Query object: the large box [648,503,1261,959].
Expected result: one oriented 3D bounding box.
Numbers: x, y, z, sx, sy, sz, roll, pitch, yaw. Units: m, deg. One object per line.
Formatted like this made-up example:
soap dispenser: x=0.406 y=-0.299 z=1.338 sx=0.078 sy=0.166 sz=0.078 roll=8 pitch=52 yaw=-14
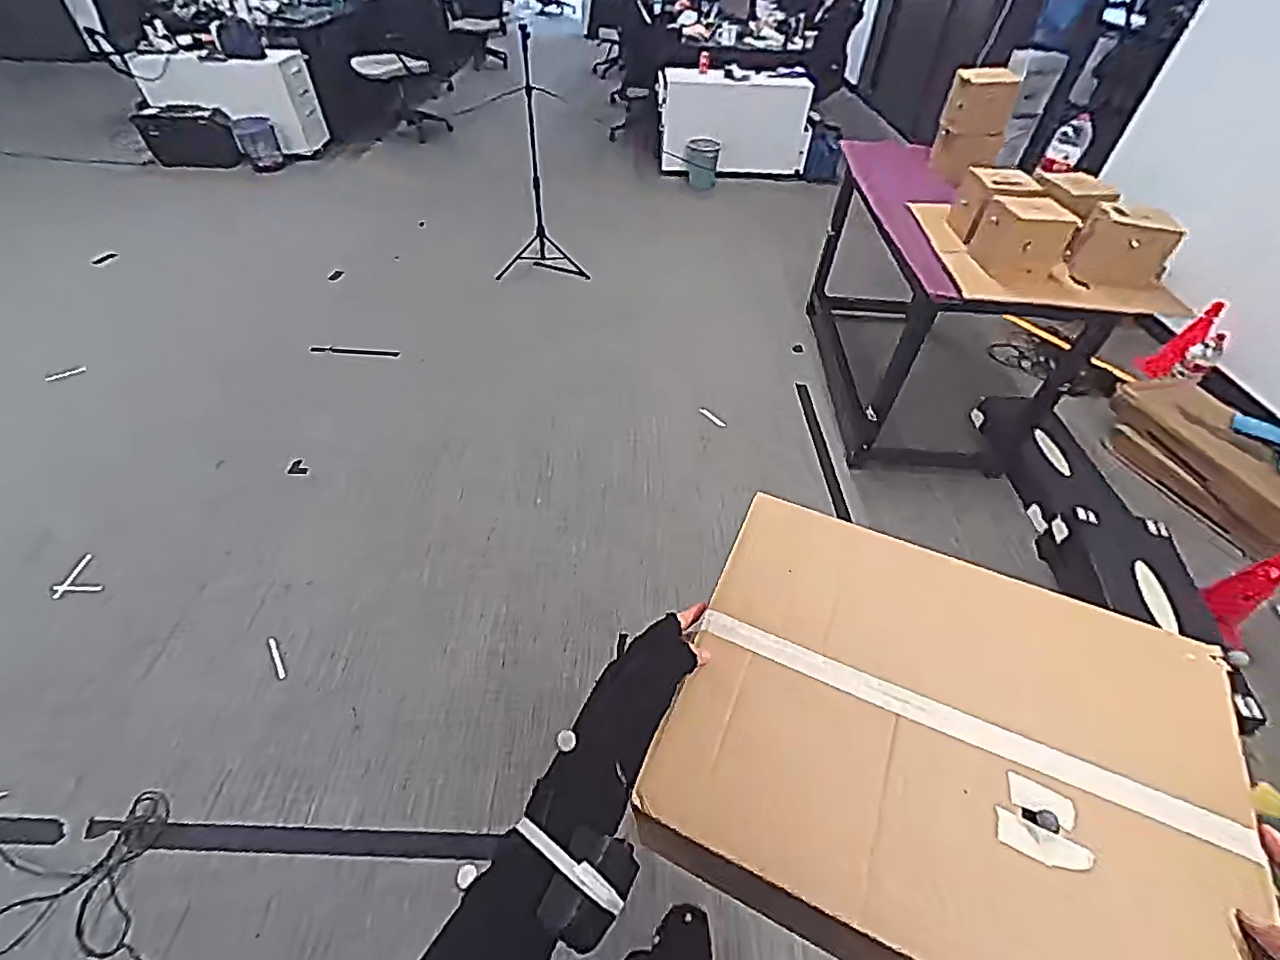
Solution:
large box: x=0.246 y=0.285 z=0.555 sx=0.408 sy=0.320 sz=0.320 roll=20 pitch=56 yaw=16
